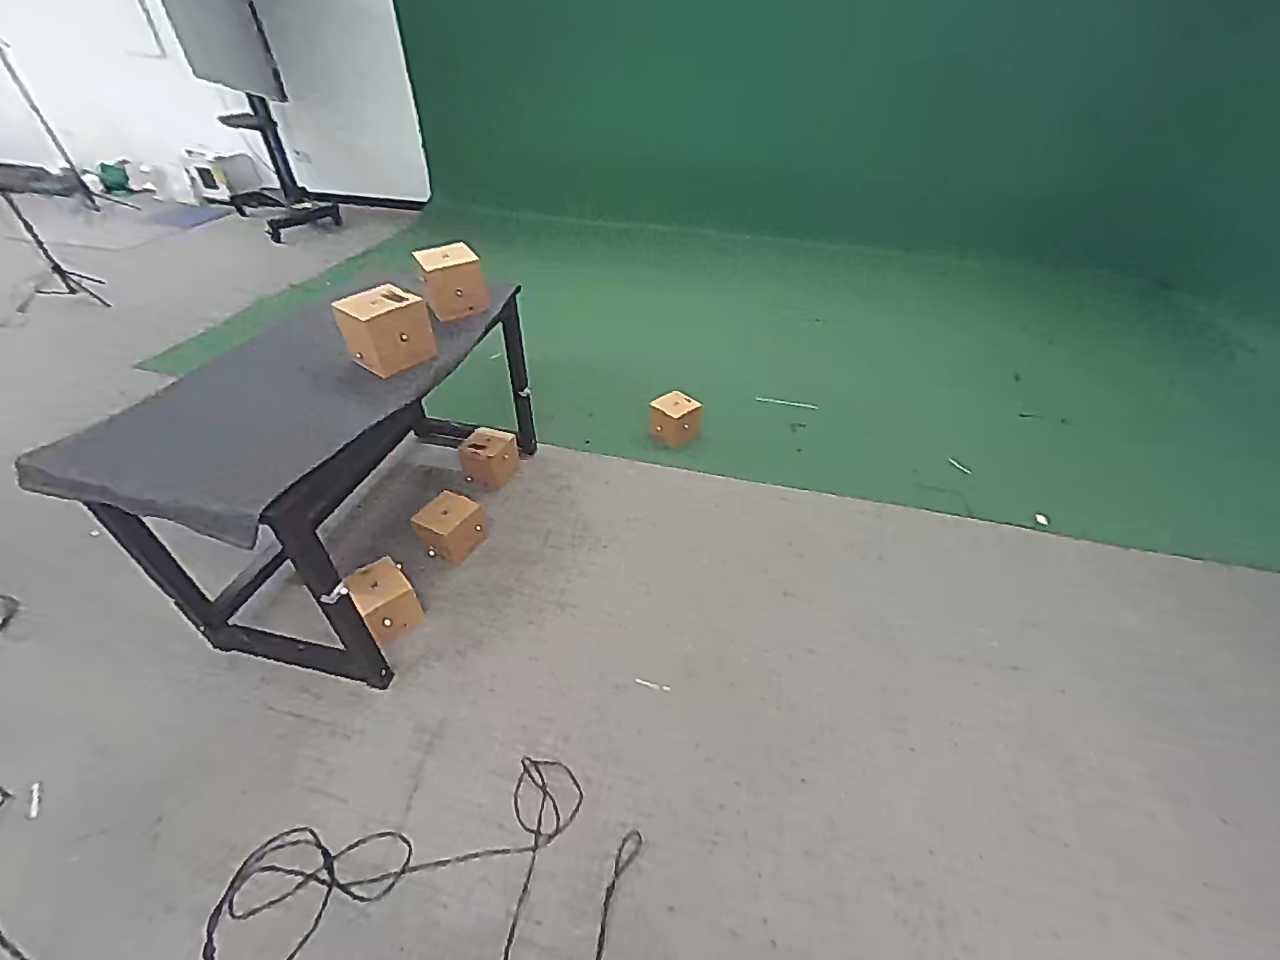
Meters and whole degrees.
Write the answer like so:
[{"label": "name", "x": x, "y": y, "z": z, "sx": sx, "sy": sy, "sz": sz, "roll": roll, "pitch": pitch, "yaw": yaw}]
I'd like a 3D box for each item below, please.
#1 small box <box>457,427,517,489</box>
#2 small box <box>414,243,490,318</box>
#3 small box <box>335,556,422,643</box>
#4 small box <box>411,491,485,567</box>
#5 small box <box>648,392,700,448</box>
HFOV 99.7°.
[{"label": "small box", "x": -0.617, "y": -0.089, "z": 2.215, "sx": 0.168, "sy": 0.176, "sz": 0.179, "roll": 14, "pitch": 42, "yaw": 13}, {"label": "small box", "x": -0.596, "y": -0.632, "z": 1.725, "sx": 0.168, "sy": 0.176, "sz": 0.179, "roll": -22, "pitch": 46, "yaw": -21}, {"label": "small box", "x": -0.803, "y": 0.378, "z": 1.677, "sx": 0.168, "sy": 0.176, "sz": 0.179, "roll": -31, "pitch": 50, "yaw": -32}, {"label": "small box", "x": -0.670, "y": 0.174, "z": 1.914, "sx": 0.168, "sy": 0.176, "sz": 0.179, "roll": 20, "pitch": 46, "yaw": 20}, {"label": "small box", "x": 0.155, "y": -0.269, "z": 2.458, "sx": 0.179, "sy": 0.176, "sz": 0.168, "roll": -30, "pitch": 50, "yaw": -31}]
